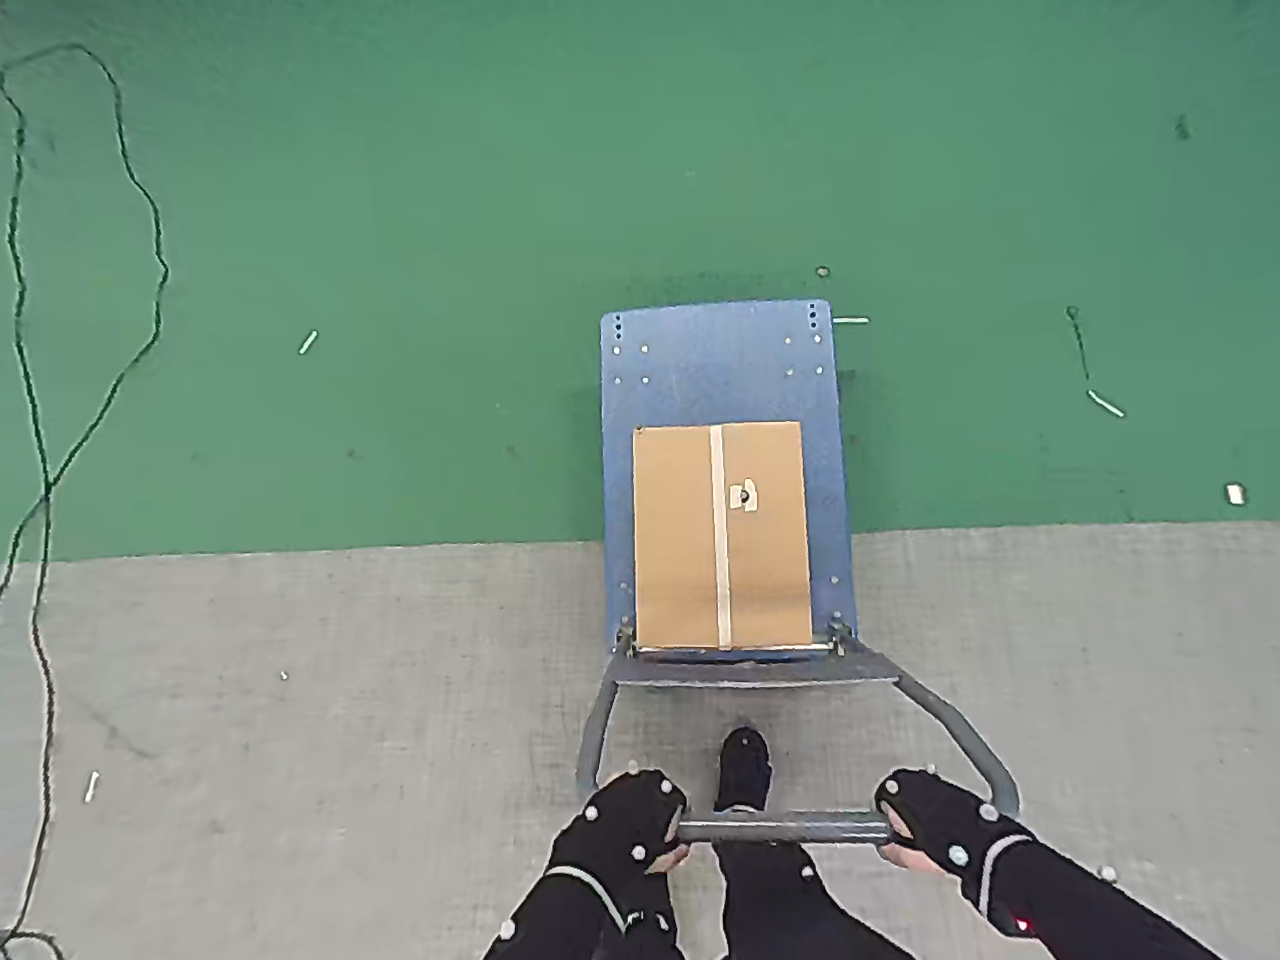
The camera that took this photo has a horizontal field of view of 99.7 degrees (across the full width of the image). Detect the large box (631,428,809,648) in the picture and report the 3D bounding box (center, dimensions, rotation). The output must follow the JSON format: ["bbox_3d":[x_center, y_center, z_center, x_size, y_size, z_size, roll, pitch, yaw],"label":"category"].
[{"bbox_3d":[0.156,0.125,1.152,0.320,0.320,0.408,-2,82,4],"label":"large box"}]
